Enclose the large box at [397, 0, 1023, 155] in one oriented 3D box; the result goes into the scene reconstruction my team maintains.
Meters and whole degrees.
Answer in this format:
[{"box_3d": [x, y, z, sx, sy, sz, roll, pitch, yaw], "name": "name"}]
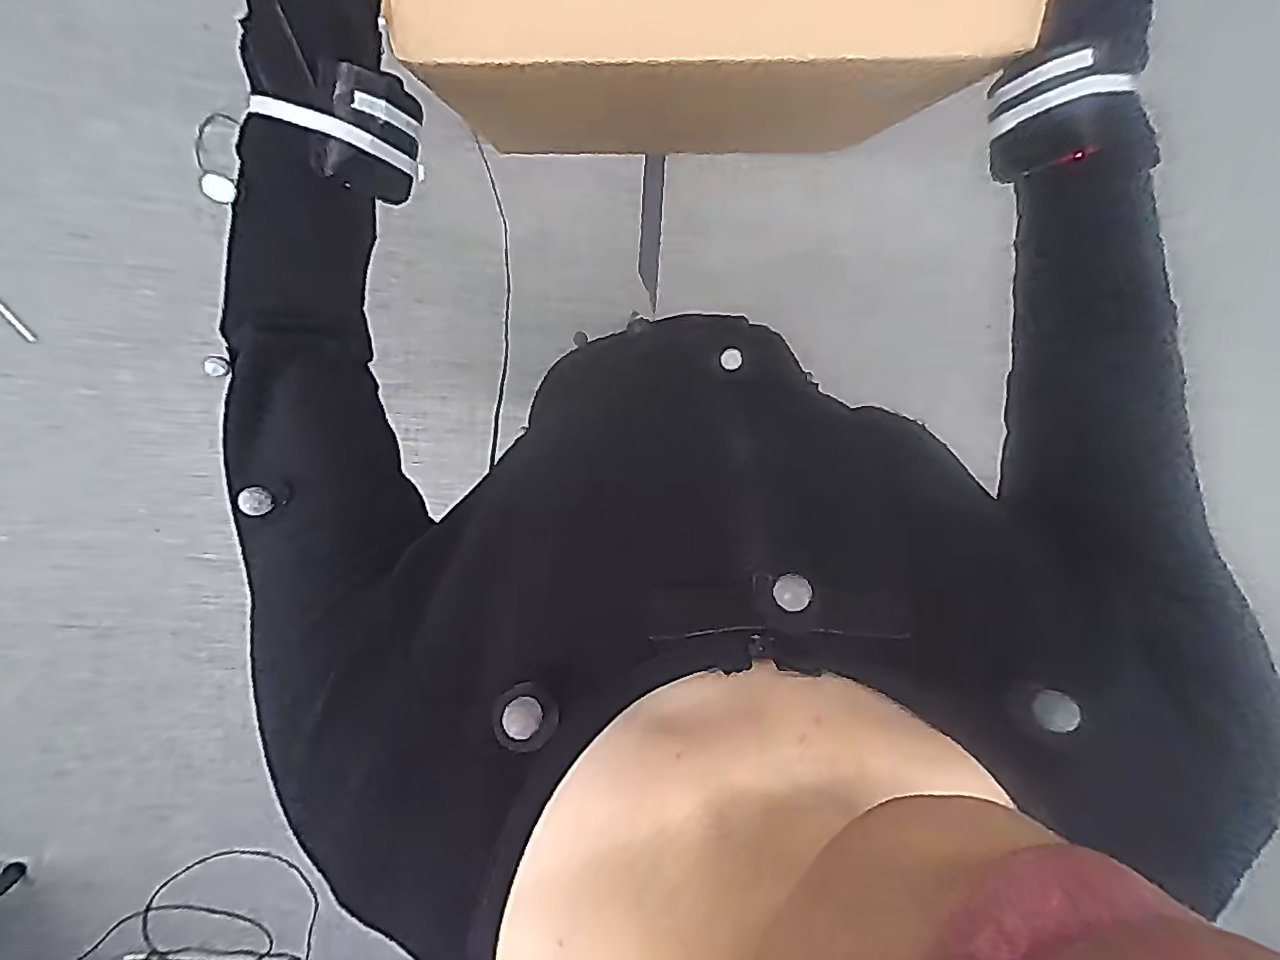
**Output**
[{"box_3d": [0.036, -0.472, 0.432, 0.408, 0.320, 0.320, -2, 112, -2], "name": "large box"}]
